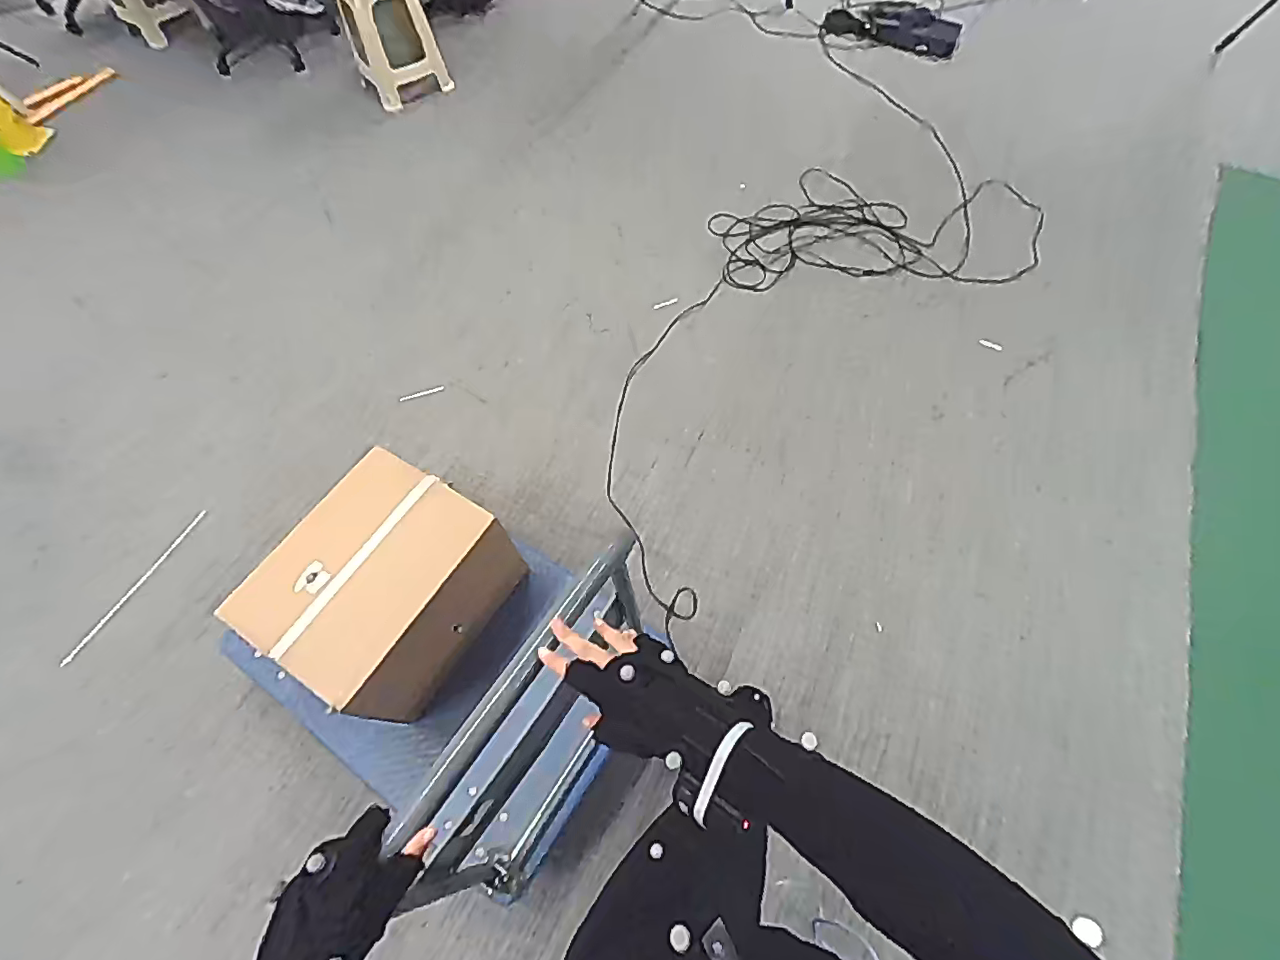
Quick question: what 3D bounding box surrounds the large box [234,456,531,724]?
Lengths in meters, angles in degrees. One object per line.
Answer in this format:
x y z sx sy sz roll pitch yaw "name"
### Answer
-0.484 0.234 1.121 0.320 0.320 0.408 27 67 15 "large box"
